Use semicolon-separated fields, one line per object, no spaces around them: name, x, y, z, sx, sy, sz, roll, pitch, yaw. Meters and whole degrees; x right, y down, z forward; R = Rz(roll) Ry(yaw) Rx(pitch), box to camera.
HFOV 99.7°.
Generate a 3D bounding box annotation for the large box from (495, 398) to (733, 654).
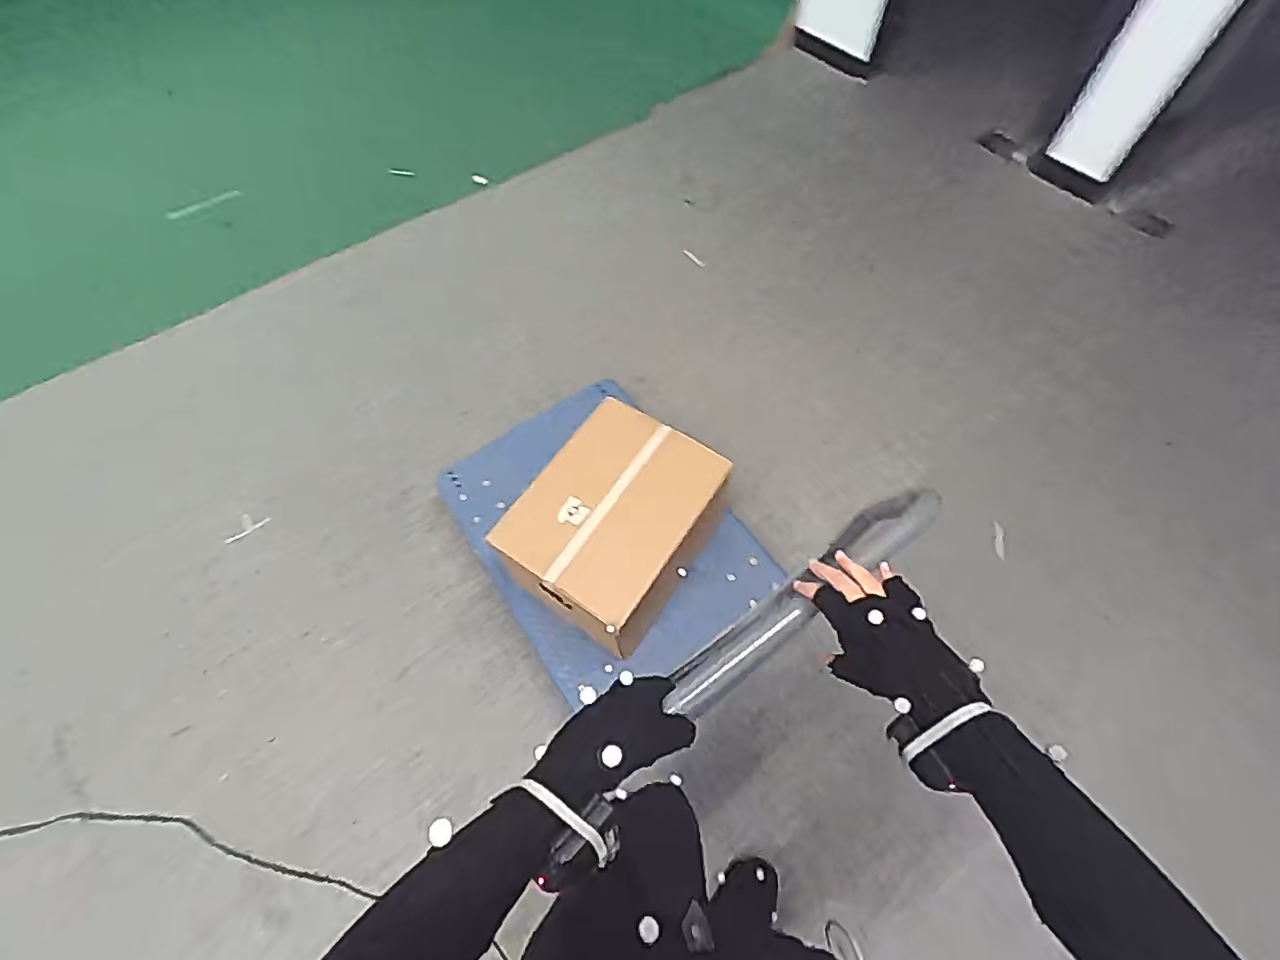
large box;-0.041;0.108;1.192;0.320;0.320;0.408;31;68;17
